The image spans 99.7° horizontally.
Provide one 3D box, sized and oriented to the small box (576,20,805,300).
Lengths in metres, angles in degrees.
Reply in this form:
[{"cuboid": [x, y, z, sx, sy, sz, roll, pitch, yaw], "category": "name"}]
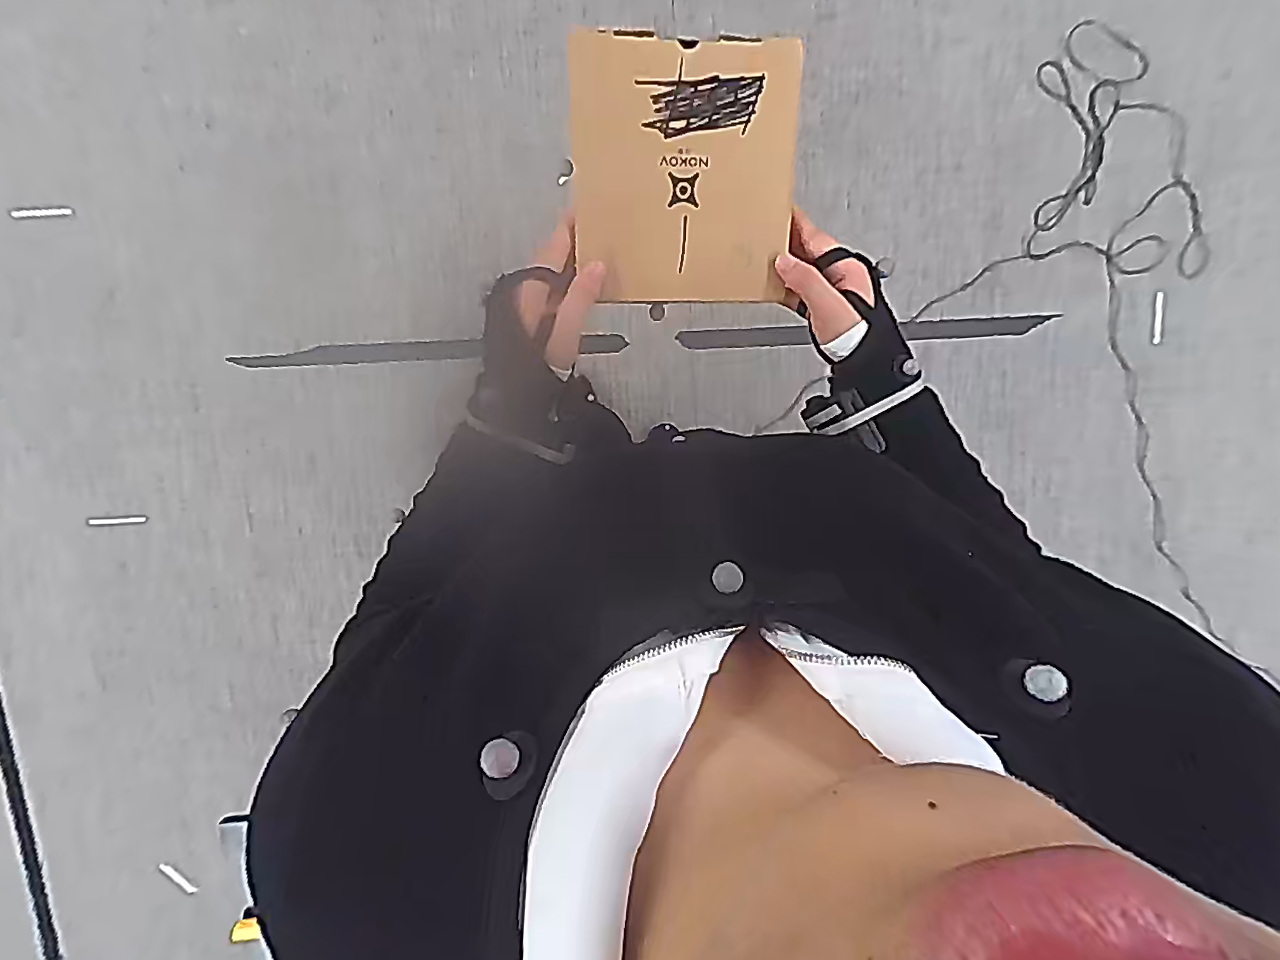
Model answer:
[{"cuboid": [0.028, -0.253, 0.474, 0.168, 0.176, 0.179, -1, 108, -5], "category": "small box"}]
